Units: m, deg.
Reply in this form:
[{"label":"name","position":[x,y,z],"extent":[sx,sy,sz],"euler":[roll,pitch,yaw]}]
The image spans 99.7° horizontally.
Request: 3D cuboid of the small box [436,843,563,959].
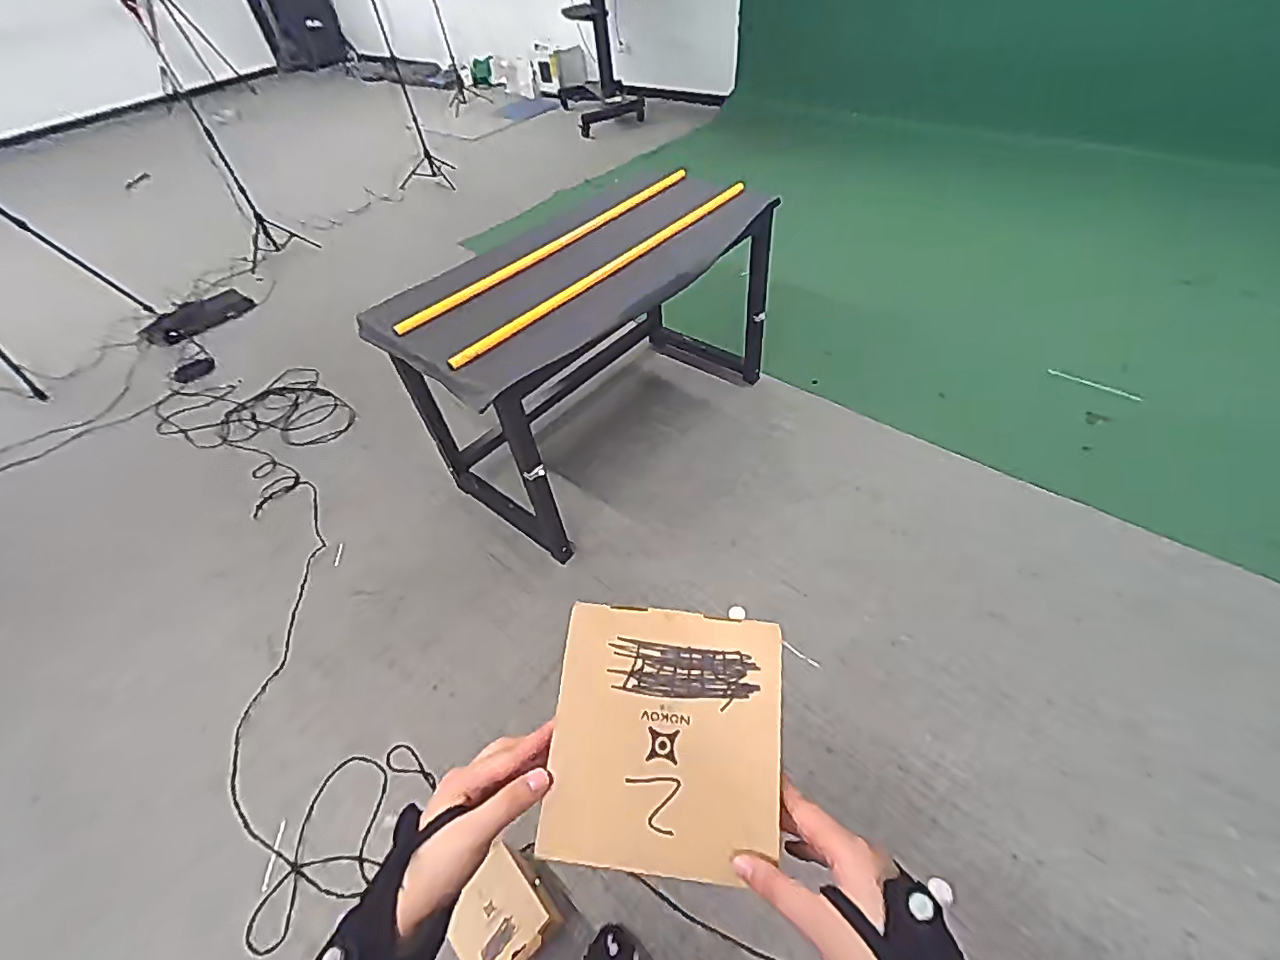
[{"label":"small box","position":[-0.280,0.897,1.113],"extent":[0.168,0.176,0.179],"euler":[-37,54,-24]}]
